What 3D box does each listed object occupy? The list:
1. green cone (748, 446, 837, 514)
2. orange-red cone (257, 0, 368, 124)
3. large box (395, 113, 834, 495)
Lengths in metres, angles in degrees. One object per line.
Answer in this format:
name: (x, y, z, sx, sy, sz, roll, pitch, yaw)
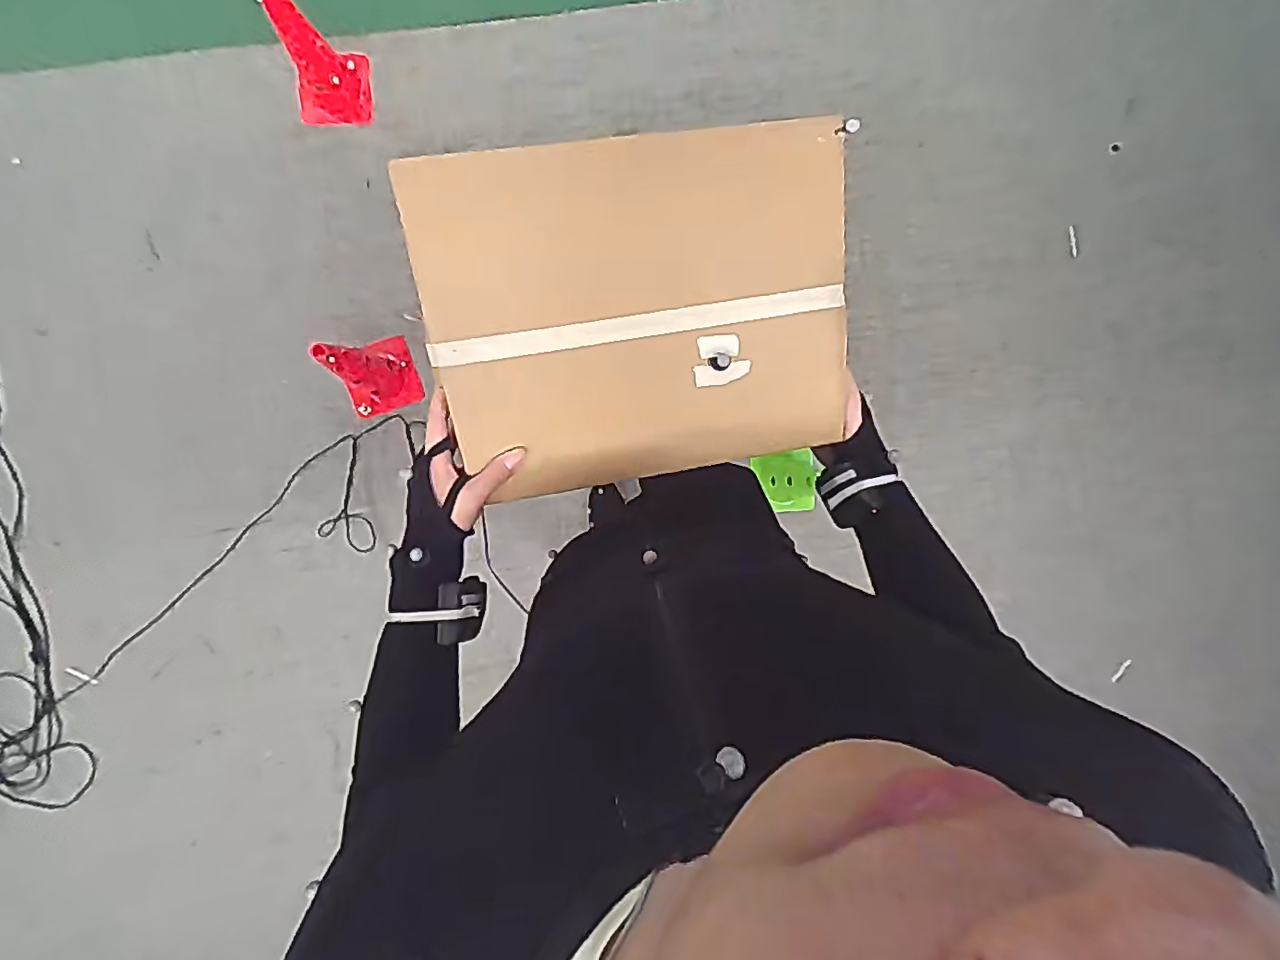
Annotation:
green cone: (0.451, -0.001, 1.491, 0.200, 0.368, 0.202, -4, 90, -5)
orange-red cone: (-0.862, -1.110, 1.363, 0.199, 0.360, 0.198, -2, 90, -3)
large box: (-0.025, -0.208, 0.669, 0.408, 0.320, 0.320, -11, 111, -8)
